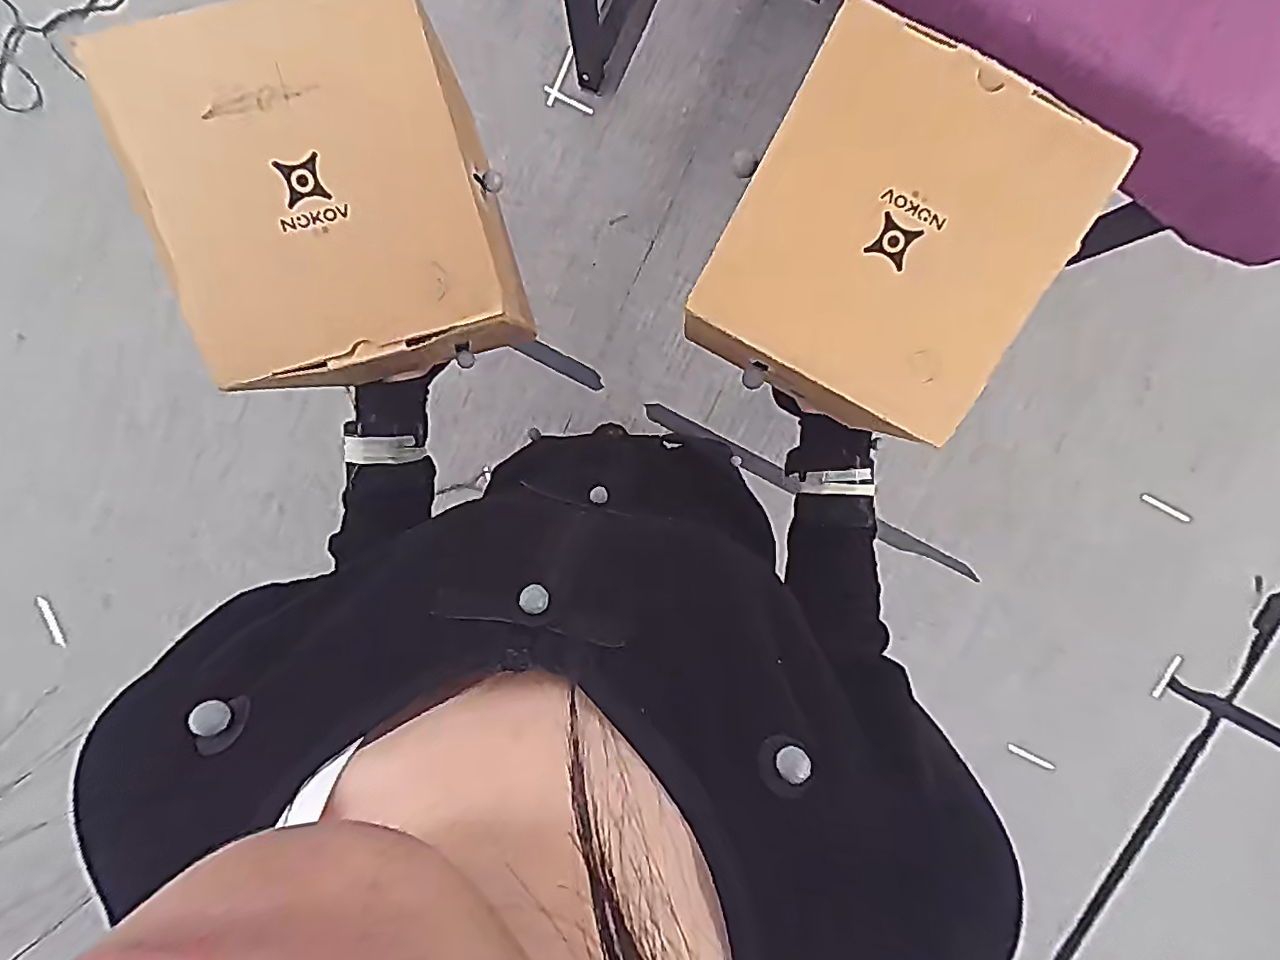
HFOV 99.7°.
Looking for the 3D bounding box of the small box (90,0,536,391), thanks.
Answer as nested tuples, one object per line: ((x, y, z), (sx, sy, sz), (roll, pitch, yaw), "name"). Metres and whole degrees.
((-0.175, -0.166, 0.361), (0.168, 0.176, 0.179), (-16, 101, -3), "small box")

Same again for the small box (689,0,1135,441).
((0.146, -0.144, 0.364), (0.168, 0.176, 0.179), (28, 99, 0), "small box")
